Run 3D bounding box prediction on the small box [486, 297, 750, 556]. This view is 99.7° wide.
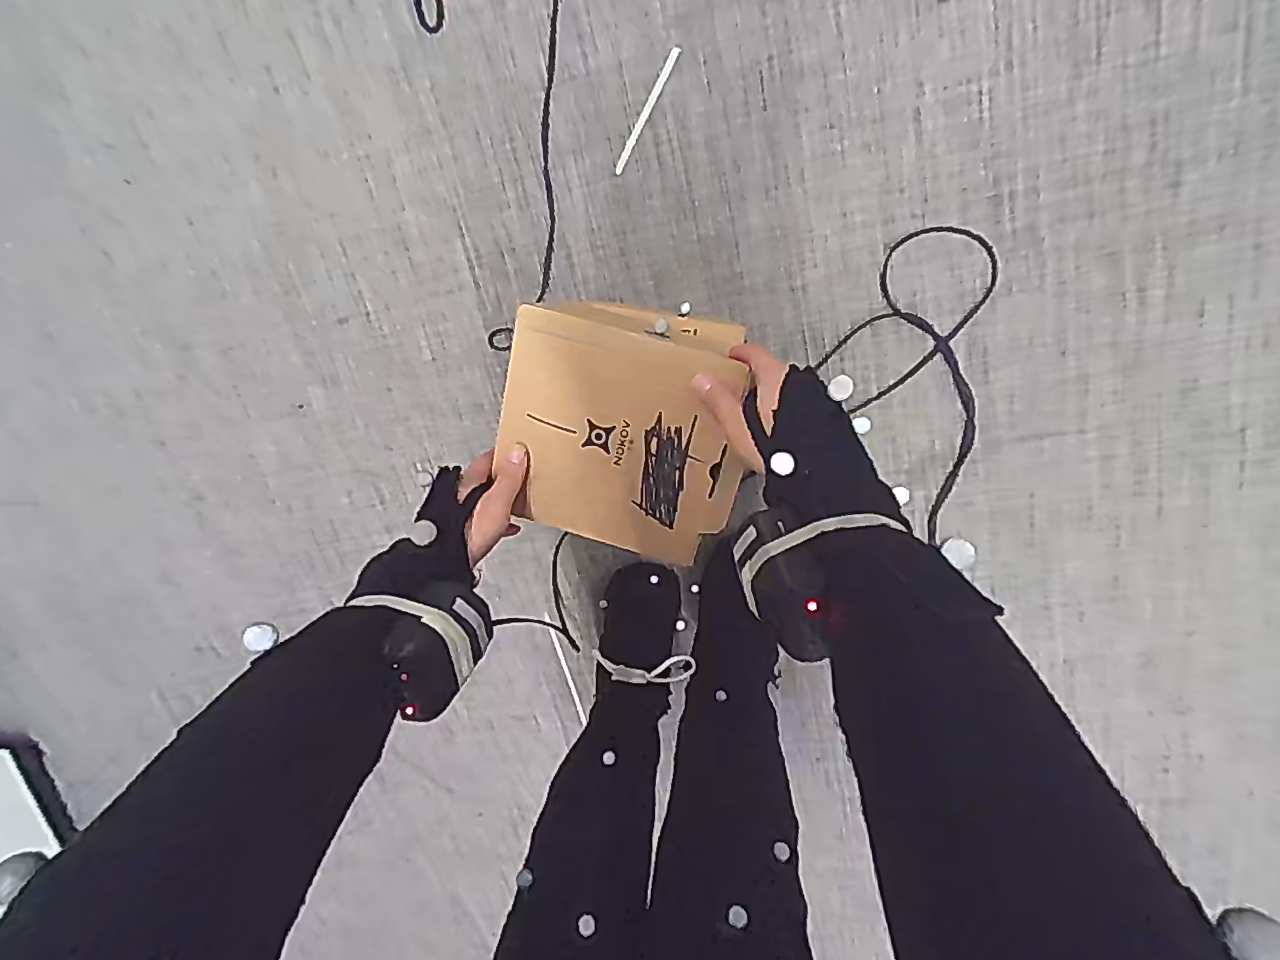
[{"bbox_3d":[-0.012,-0.060,0.485,0.179,0.176,0.168,17,109,4],"label":"small box"}]

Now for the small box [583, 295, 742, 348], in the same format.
[{"bbox_3d":[0.021,-0.115,0.639,0.168,0.176,0.179,11,109,5],"label":"small box"}]
